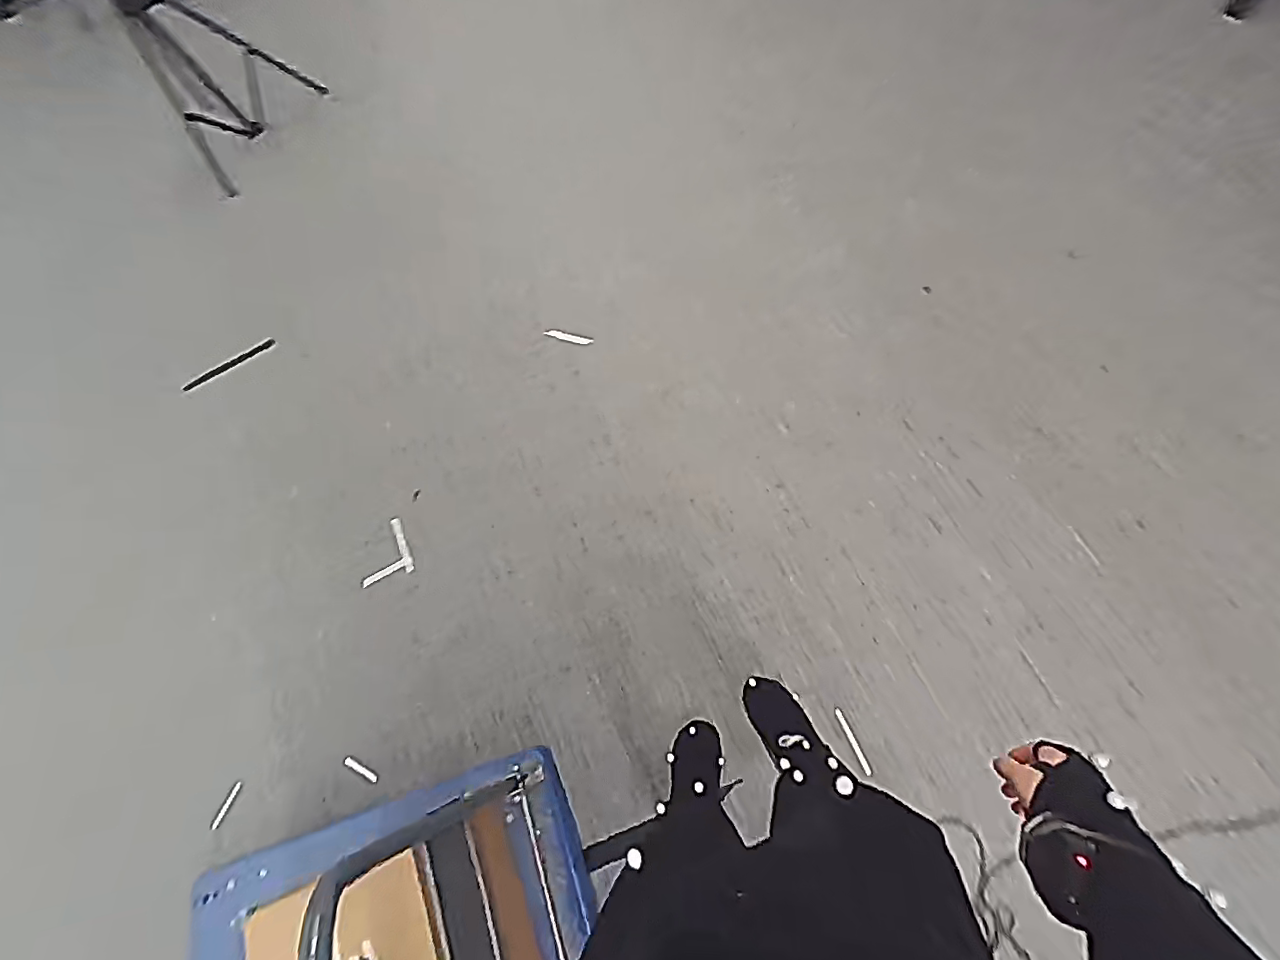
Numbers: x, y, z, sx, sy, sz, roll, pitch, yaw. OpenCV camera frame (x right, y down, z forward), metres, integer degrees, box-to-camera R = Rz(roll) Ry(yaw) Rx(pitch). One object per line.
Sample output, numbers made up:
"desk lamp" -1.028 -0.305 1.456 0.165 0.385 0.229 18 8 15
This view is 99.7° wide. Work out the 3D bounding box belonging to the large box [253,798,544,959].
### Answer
"large box" -0.387 0.854 0.940 0.320 0.320 0.408 -26 68 2
